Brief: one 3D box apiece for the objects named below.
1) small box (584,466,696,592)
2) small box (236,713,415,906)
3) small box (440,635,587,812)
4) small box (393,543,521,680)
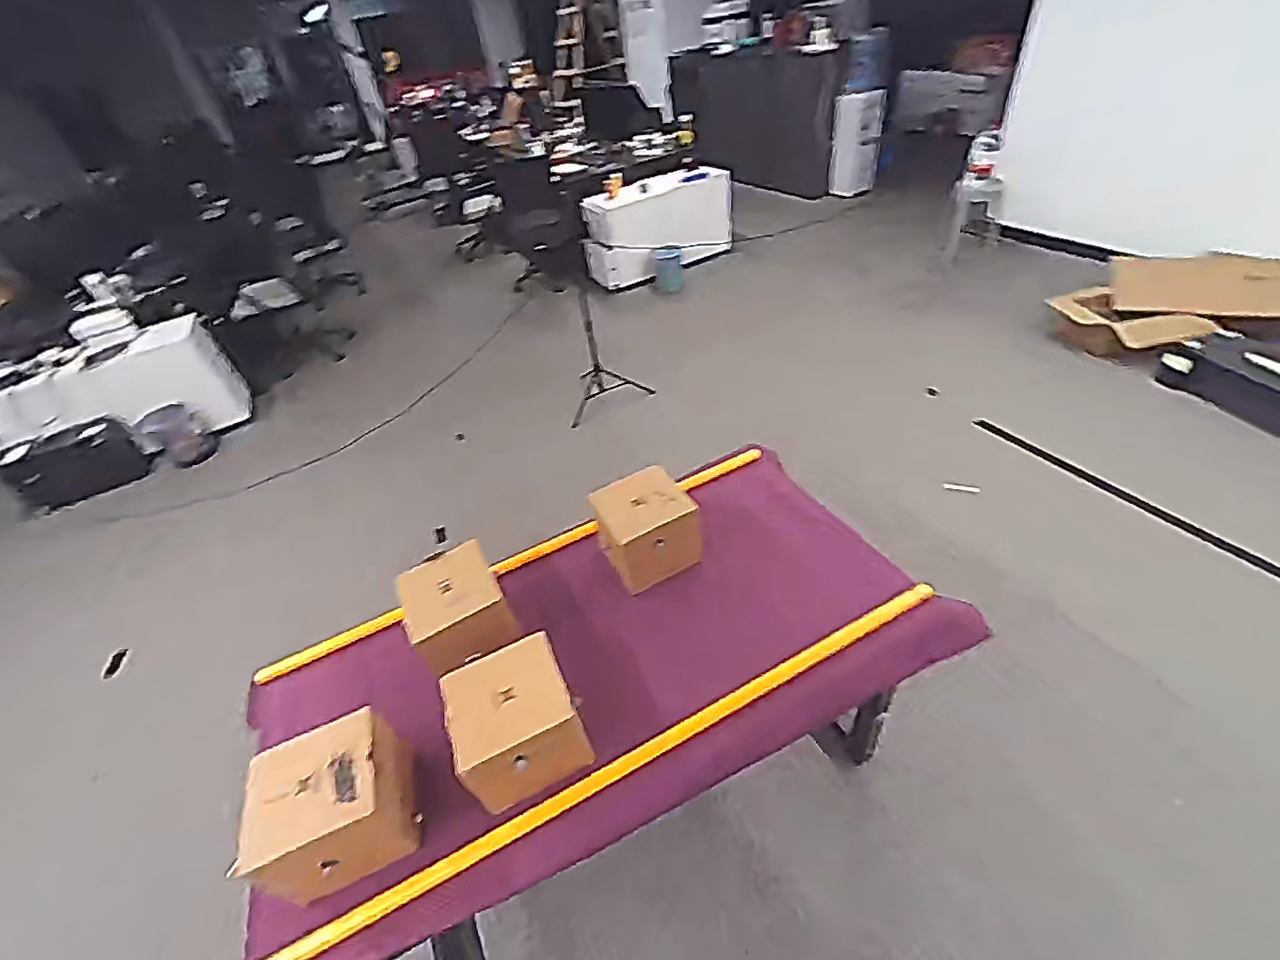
[{"bbox_3d":[0.005,0.107,1.149,0.179,0.176,0.168,-25,45,-15],"label":"small box"},{"bbox_3d":[-0.454,0.493,0.811,0.179,0.176,0.168,-21,42,-12],"label":"small box"},{"bbox_3d":[-0.197,0.393,0.874,0.179,0.176,0.168,-23,43,-13],"label":"small box"},{"bbox_3d":[-0.352,0.262,1.052,0.168,0.176,0.179,-27,45,-17],"label":"small box"}]
